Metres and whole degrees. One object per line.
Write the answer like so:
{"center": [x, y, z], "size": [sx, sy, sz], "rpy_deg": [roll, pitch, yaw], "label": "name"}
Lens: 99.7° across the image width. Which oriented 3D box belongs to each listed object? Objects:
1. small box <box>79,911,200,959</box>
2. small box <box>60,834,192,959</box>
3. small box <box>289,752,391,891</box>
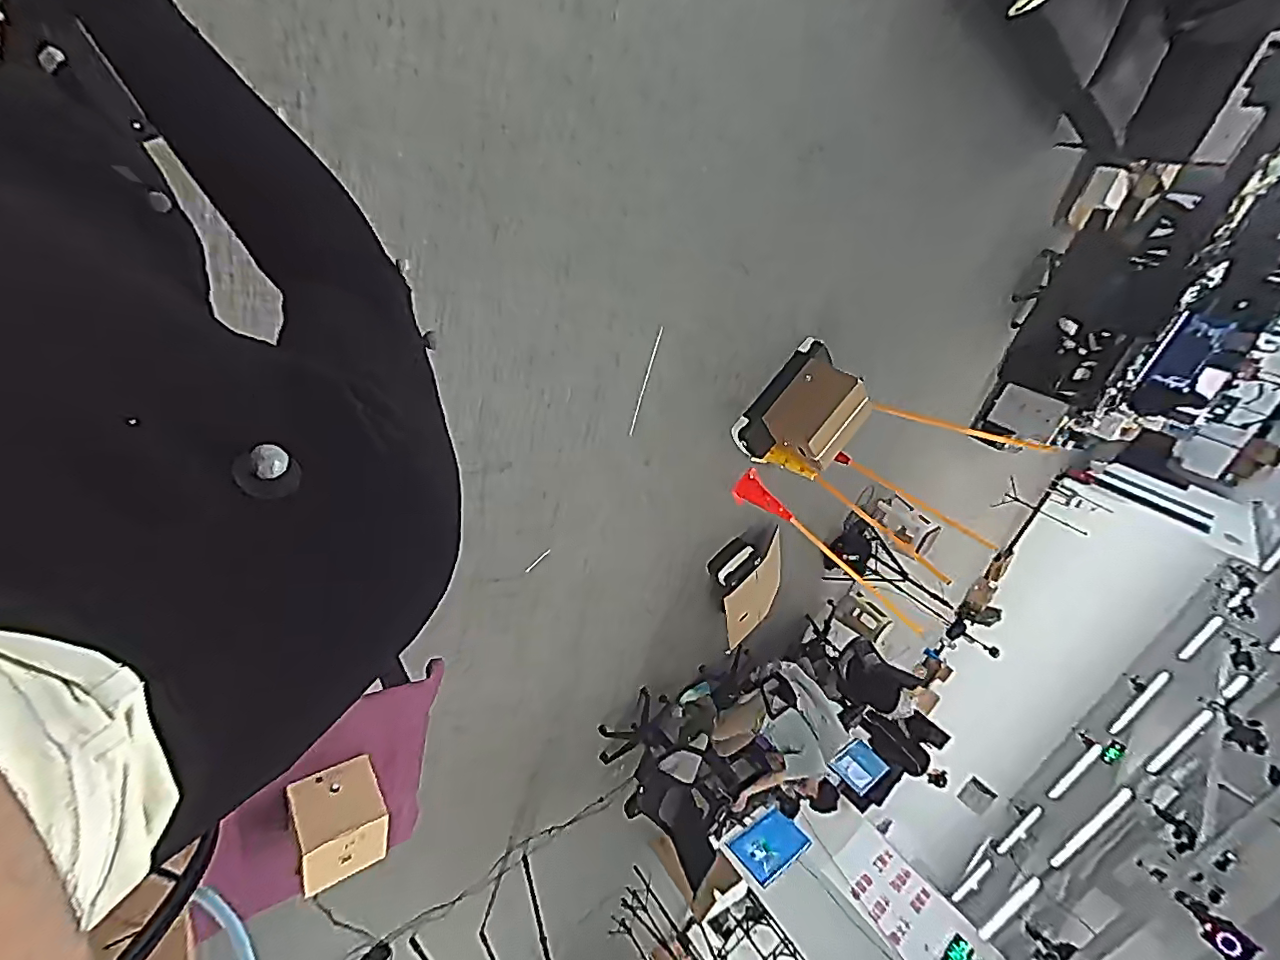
{"center": [-0.841, 0.879, 0.898], "size": [0.179, 0.176, 0.168], "rpy_deg": [-7, 124, -41], "label": "small box"}
{"center": [-0.942, 0.802, 1.000], "size": [0.168, 0.176, 0.179], "rpy_deg": [-8, 126, -41], "label": "small box"}
{"center": [-0.683, 0.765, 1.227], "size": [0.168, 0.176, 0.179], "rpy_deg": [-9, 126, -41], "label": "small box"}
